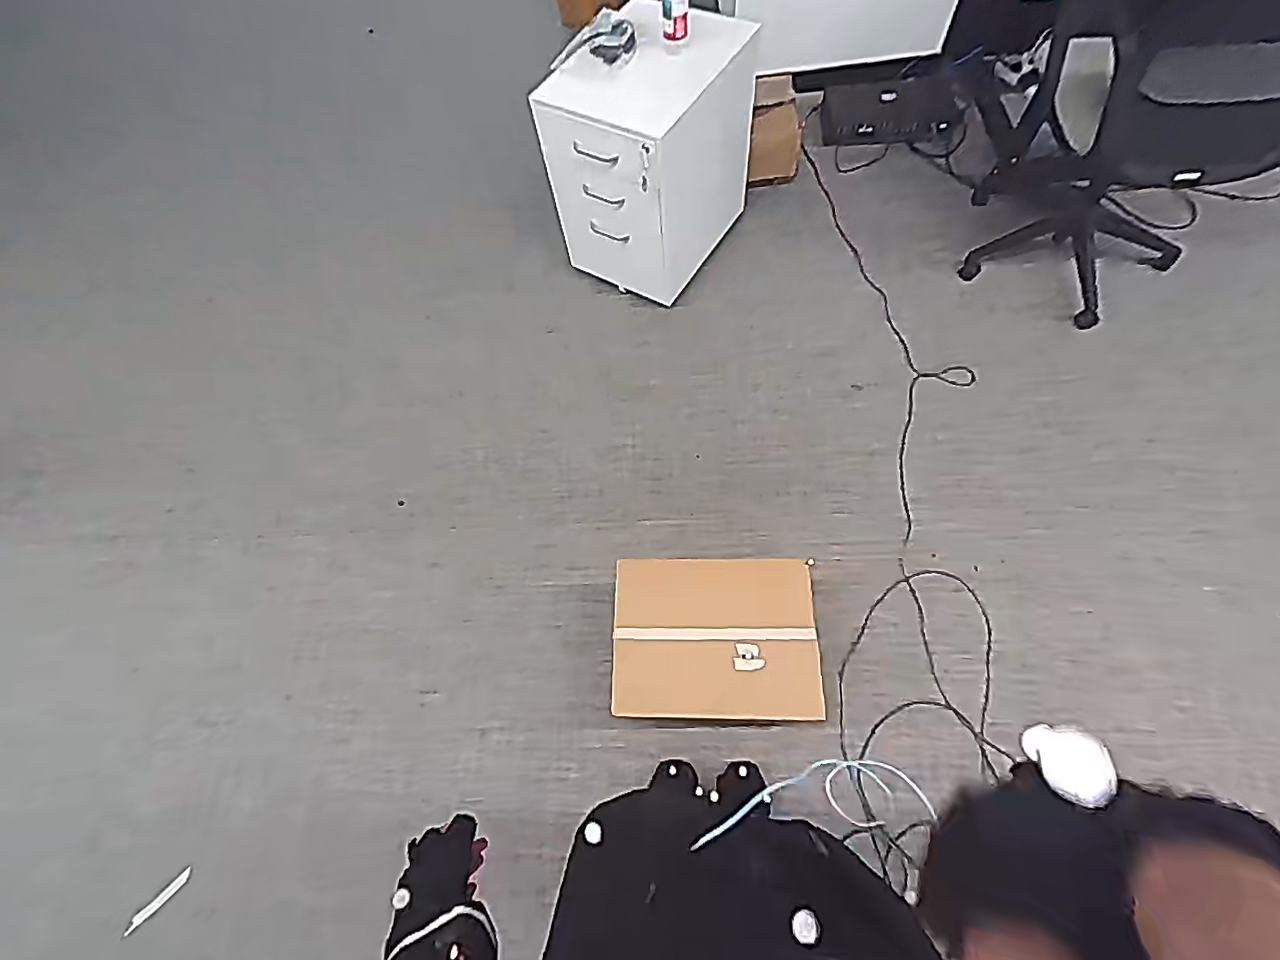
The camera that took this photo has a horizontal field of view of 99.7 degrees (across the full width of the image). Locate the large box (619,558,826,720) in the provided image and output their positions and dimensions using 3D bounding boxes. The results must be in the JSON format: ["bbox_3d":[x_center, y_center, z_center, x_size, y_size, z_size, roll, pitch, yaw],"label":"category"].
[{"bbox_3d":[0.166,0.372,1.228,0.408,0.320,0.320,-1,66,5],"label":"large box"}]
